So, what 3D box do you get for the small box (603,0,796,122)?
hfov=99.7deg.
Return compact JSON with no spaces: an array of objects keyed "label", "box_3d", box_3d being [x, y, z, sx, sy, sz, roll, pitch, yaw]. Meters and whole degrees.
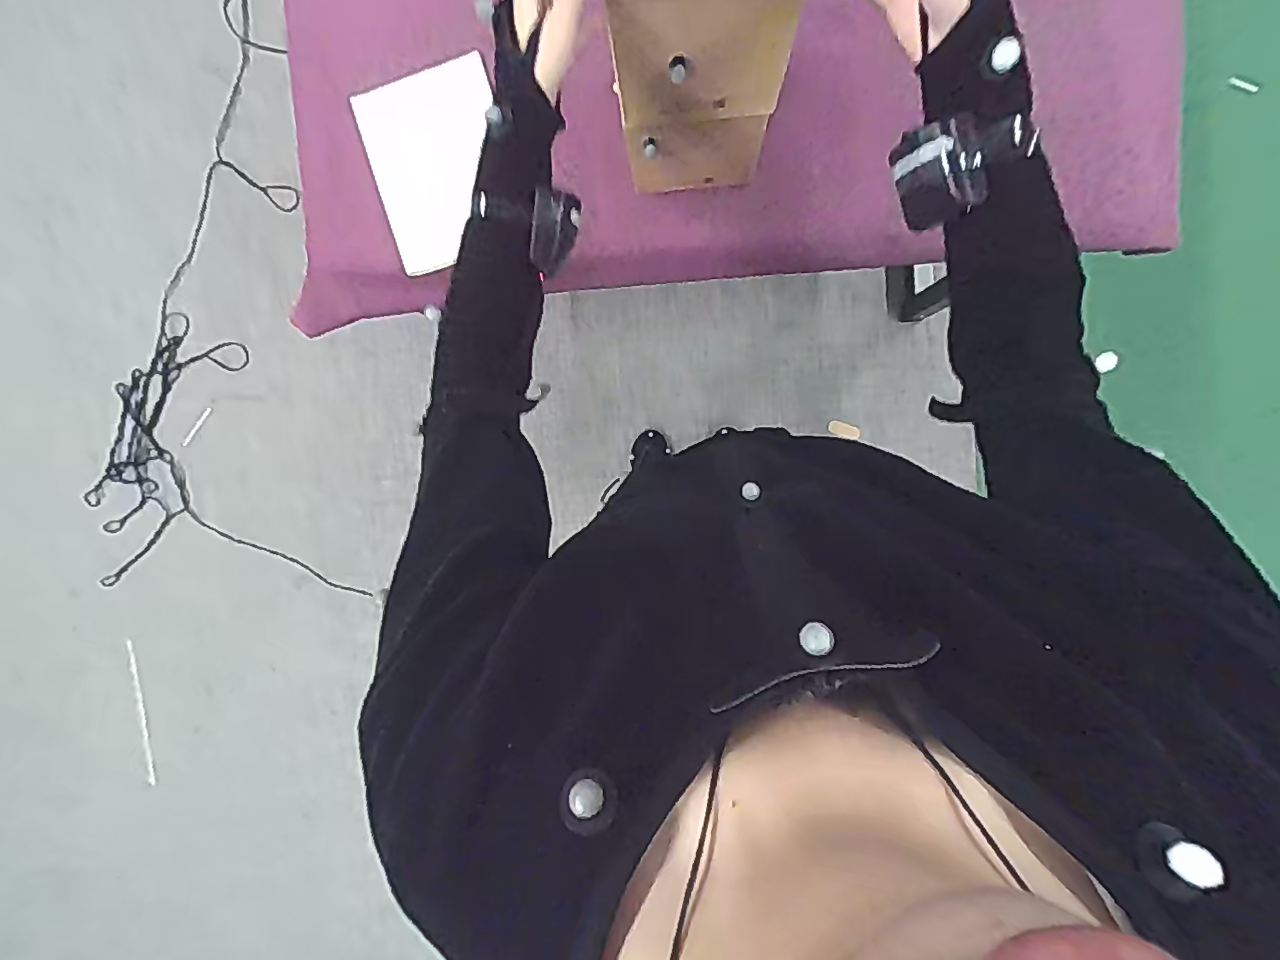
[{"label":"small box","box_3d":[0.054,-0.474,0.515,0.168,0.176,0.179,-3,91,4]}]
